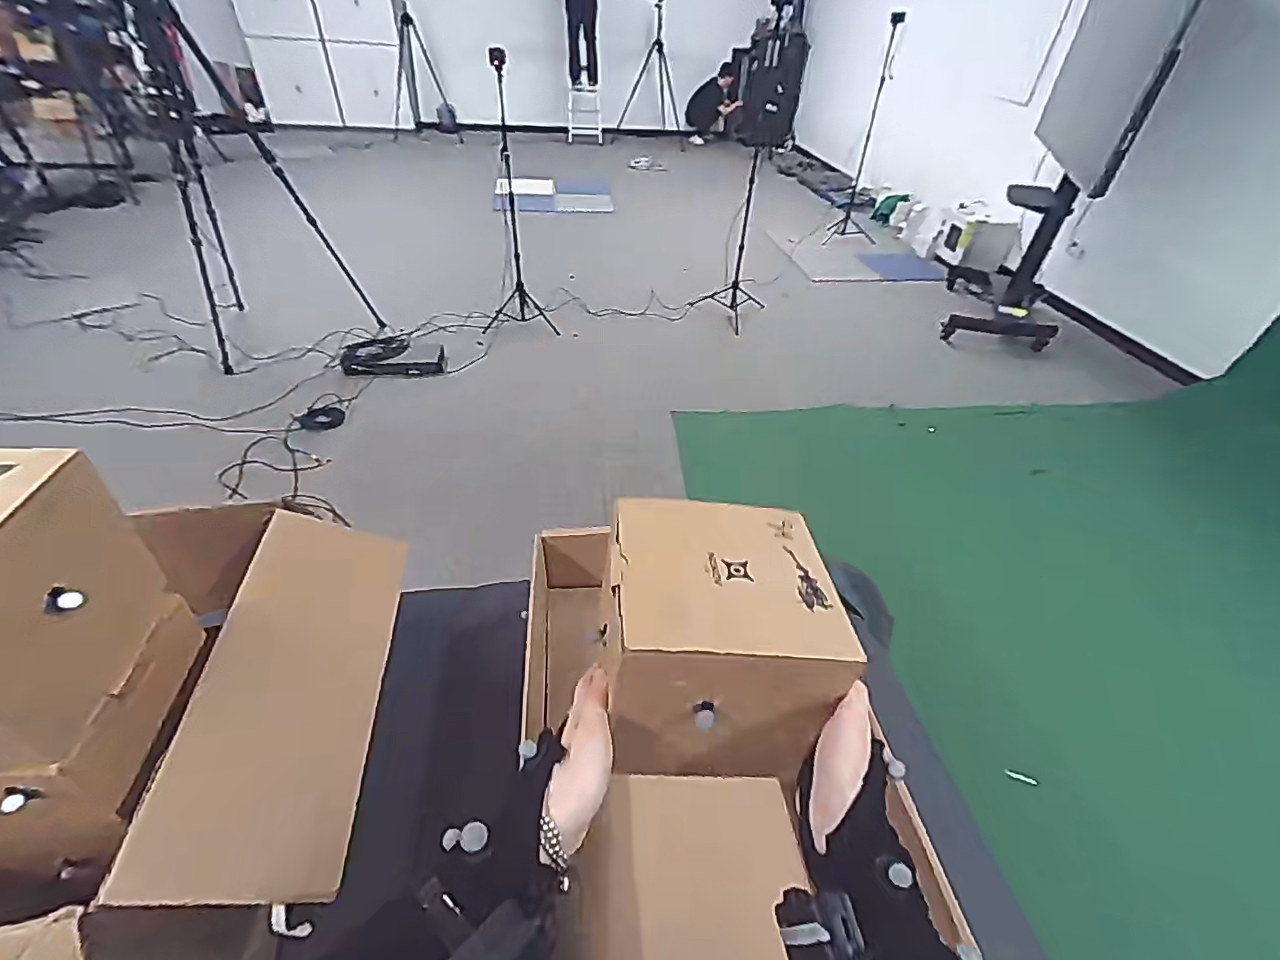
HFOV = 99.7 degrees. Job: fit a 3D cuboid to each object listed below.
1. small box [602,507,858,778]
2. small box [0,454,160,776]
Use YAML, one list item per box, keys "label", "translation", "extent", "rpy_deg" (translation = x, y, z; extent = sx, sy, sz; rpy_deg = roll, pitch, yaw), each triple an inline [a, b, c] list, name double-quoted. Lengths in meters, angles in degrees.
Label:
- label: "small box"
  translation: [0.058, 0.143, 0.483]
  extent: [0.179, 0.176, 0.168]
  rpy_deg: [5, 34, -7]
- label: "small box"
  translation: [-0.510, 0.096, 0.399]
  extent: [0.168, 0.176, 0.179]
  rpy_deg: [0, 40, -12]
